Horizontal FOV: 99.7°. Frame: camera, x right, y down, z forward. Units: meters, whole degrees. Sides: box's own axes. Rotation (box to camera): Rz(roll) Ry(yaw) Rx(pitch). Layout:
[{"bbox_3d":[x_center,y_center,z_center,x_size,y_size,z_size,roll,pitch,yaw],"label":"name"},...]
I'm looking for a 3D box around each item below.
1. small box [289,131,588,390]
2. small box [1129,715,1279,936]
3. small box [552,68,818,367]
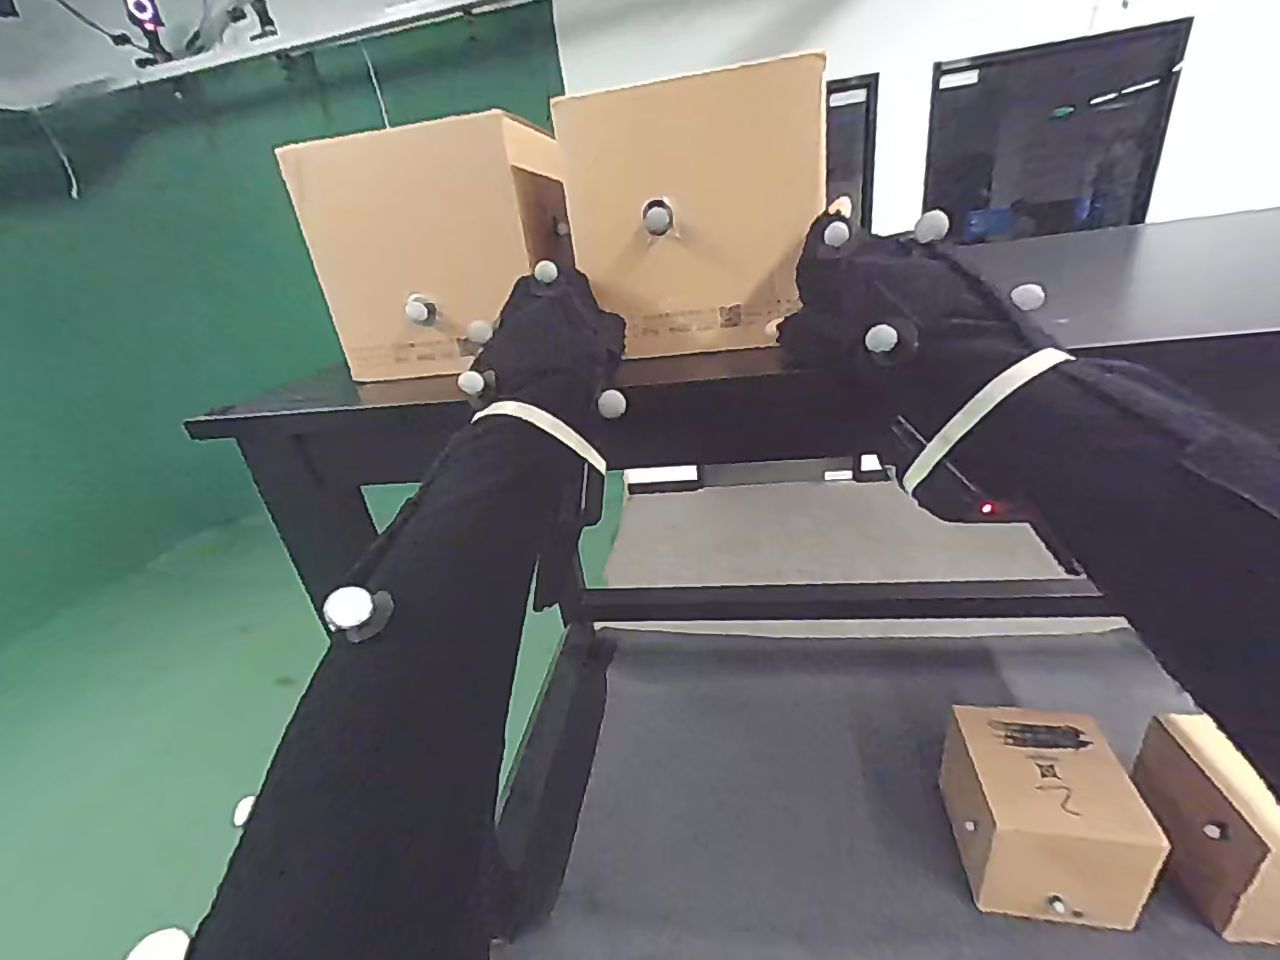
[{"bbox_3d":[-0.149,-0.185,0.473,0.168,0.176,0.179,-4,26,10],"label":"small box"},{"bbox_3d":[0.748,0.413,0.648,0.168,0.176,0.179,-3,24,10],"label":"small box"},{"bbox_3d":[0.047,-0.191,0.433,0.168,0.176,0.179,-3,24,11],"label":"small box"}]
